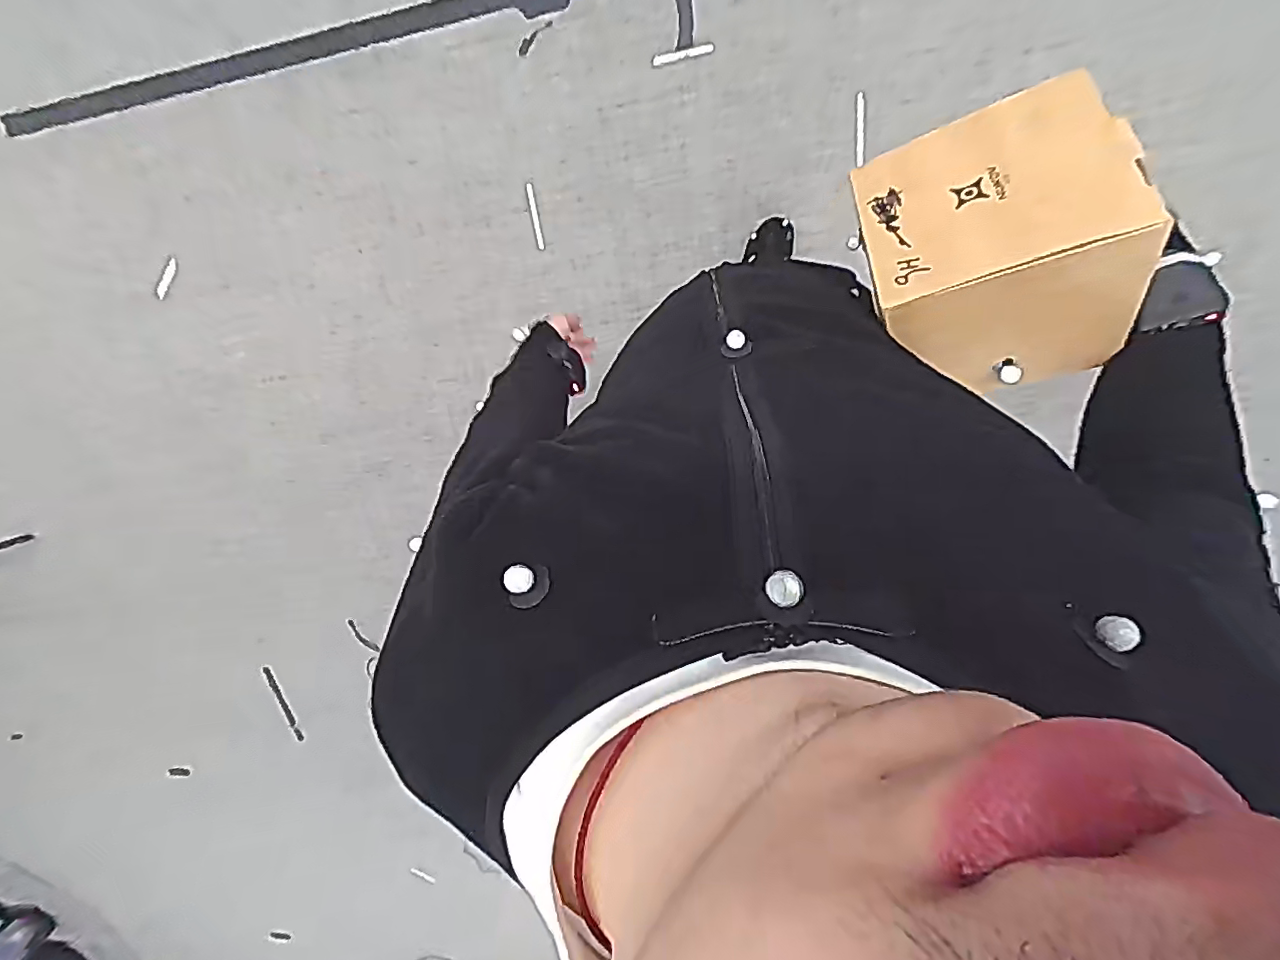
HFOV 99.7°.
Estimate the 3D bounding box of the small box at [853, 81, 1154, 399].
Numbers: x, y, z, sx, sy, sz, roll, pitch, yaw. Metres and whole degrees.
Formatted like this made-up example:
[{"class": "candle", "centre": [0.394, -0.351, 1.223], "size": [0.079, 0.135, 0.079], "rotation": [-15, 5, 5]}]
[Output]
[{"class": "small box", "centre": [0.309, -0.199, 0.497], "size": [0.179, 0.168, 0.176], "rotation": [-13, 151, 26]}]
